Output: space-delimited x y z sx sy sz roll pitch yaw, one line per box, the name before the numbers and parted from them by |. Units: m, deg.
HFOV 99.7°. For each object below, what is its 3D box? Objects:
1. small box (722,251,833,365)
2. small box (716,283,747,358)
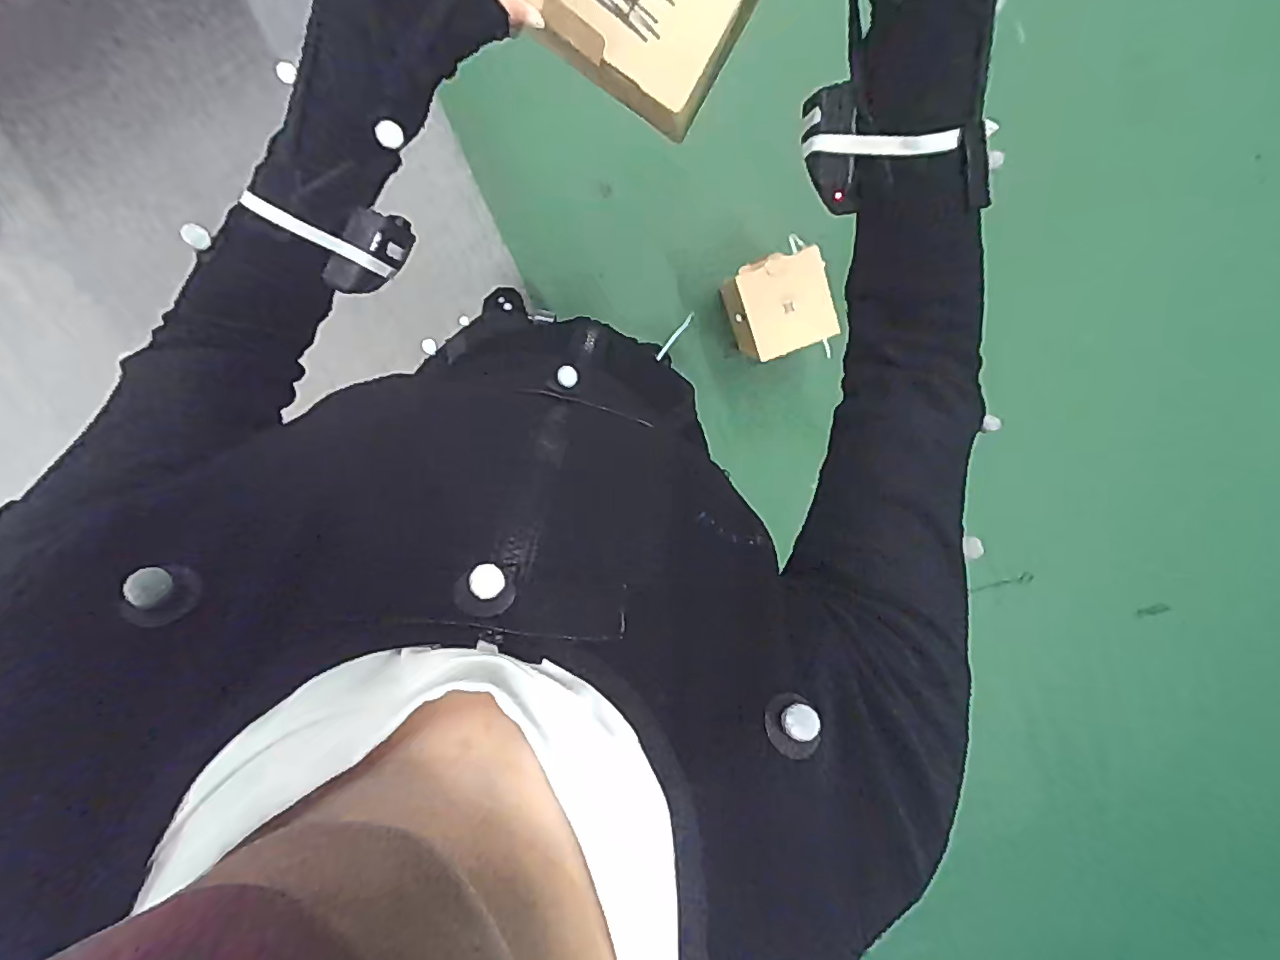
small box | 0.282 -0.358 1.136 0.168 0.176 0.179 -19 105 6
small box | 0.290 -0.408 1.292 0.168 0.176 0.179 -20 105 6
